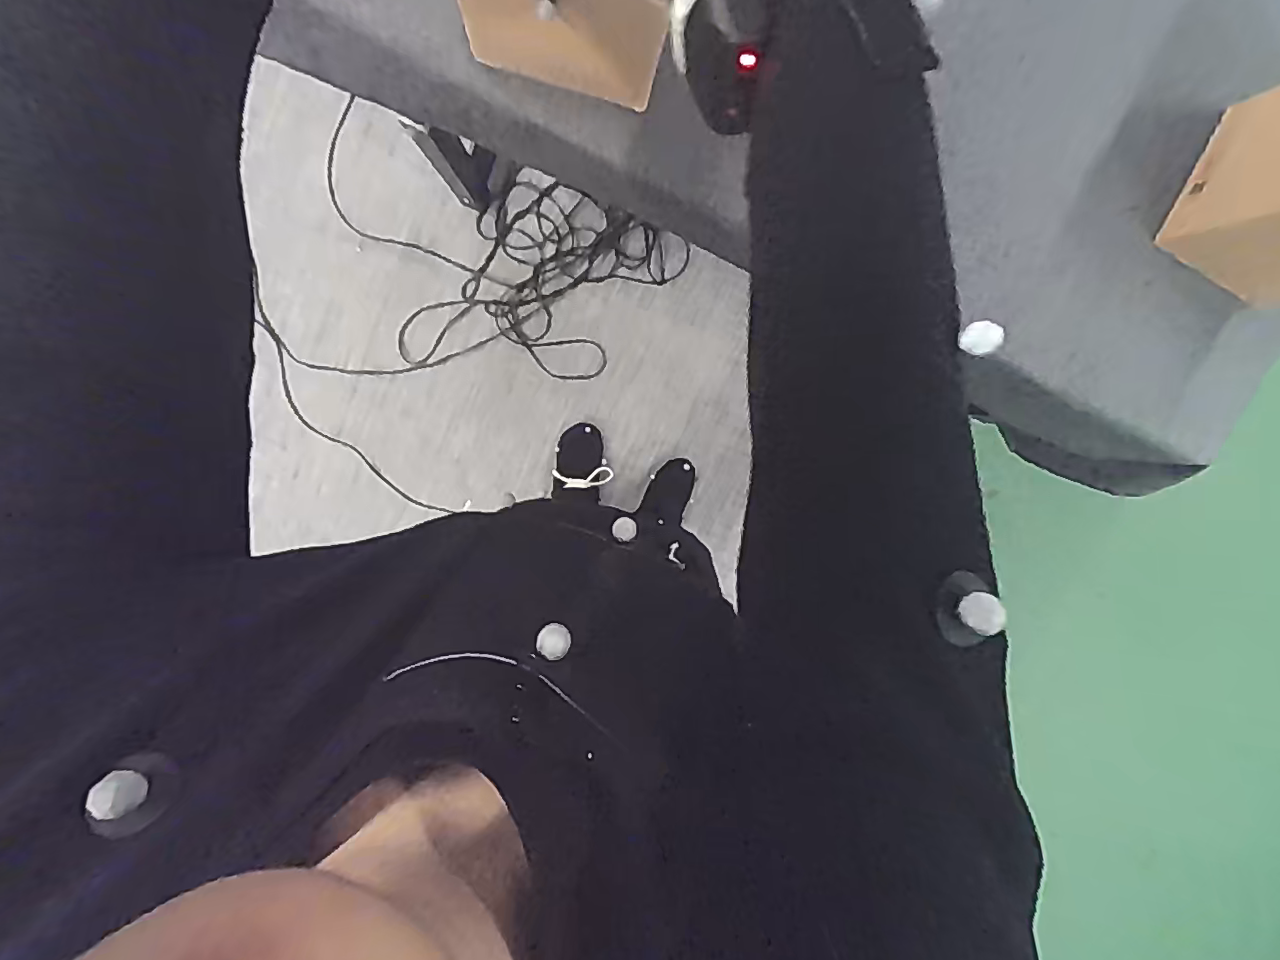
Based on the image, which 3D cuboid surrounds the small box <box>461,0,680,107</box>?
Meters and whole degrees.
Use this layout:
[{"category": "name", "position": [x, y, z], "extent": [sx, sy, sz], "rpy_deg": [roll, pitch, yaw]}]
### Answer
[{"category": "small box", "position": [-0.048, -0.454, 0.452], "extent": [0.179, 0.176, 0.168], "rpy_deg": [12, 98, -8]}]
